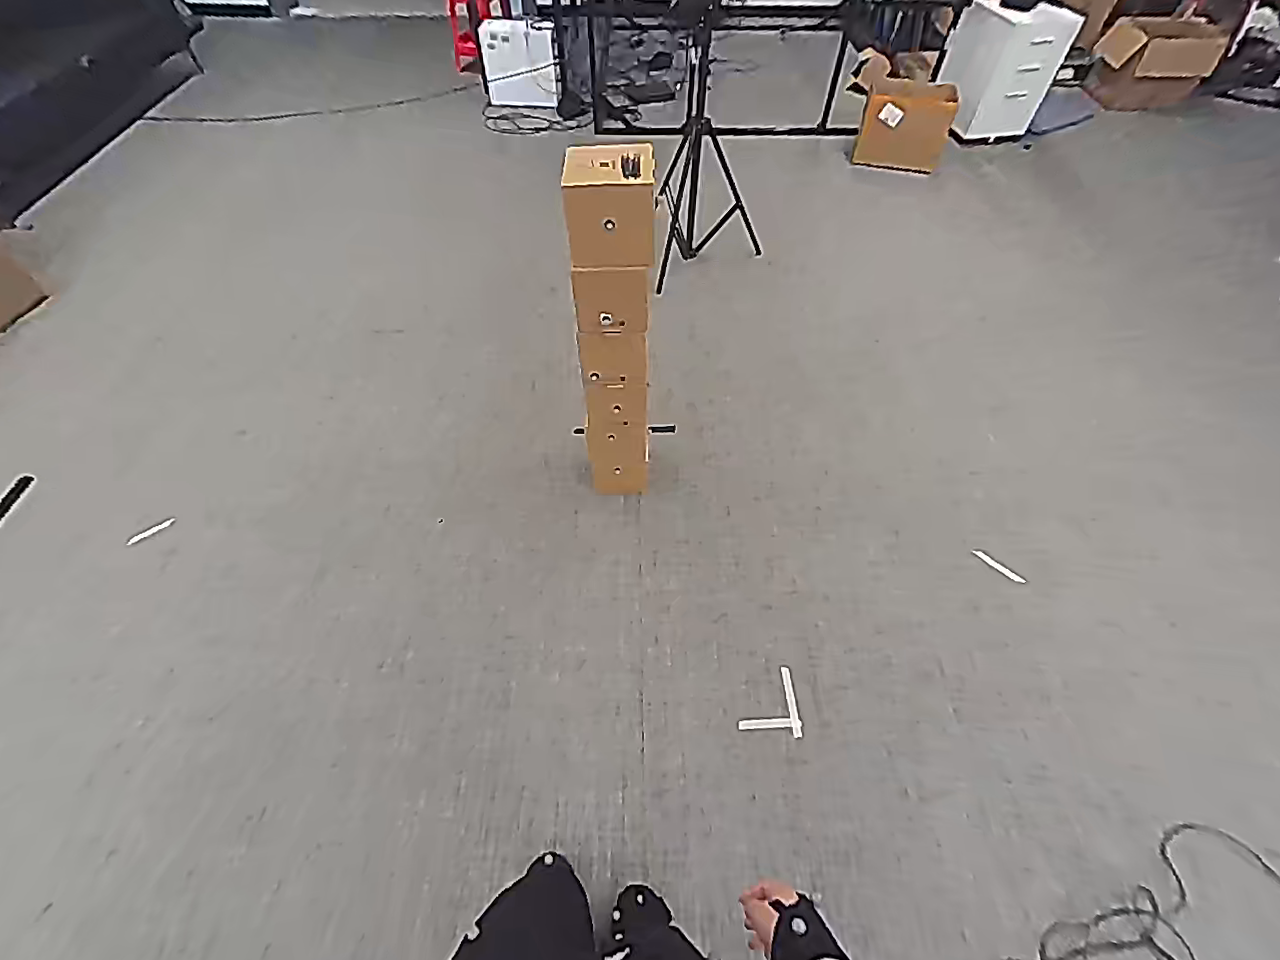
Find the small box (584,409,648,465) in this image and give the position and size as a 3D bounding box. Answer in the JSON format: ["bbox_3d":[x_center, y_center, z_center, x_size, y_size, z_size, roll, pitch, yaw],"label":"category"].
[{"bbox_3d":[-0.068,-0.157,1.628,0.179,0.176,0.168,1,55,2],"label":"small box"}]

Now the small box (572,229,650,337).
[{"bbox_3d":[-0.061,-0.449,1.236,0.168,0.176,0.179,-2,55,0],"label":"small box"}]

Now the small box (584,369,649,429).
[{"bbox_3d":[-0.060,-0.255,1.498,0.168,0.176,0.179,1,55,1],"label":"small box"}]

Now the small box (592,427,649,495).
[{"bbox_3d":[-0.060,-0.063,1.763,0.179,0.176,0.168,0,54,0],"label":"small box"}]

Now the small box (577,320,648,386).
[{"bbox_3d":[-0.063,-0.354,1.366,0.168,0.176,0.179,0,53,1],"label":"small box"}]
